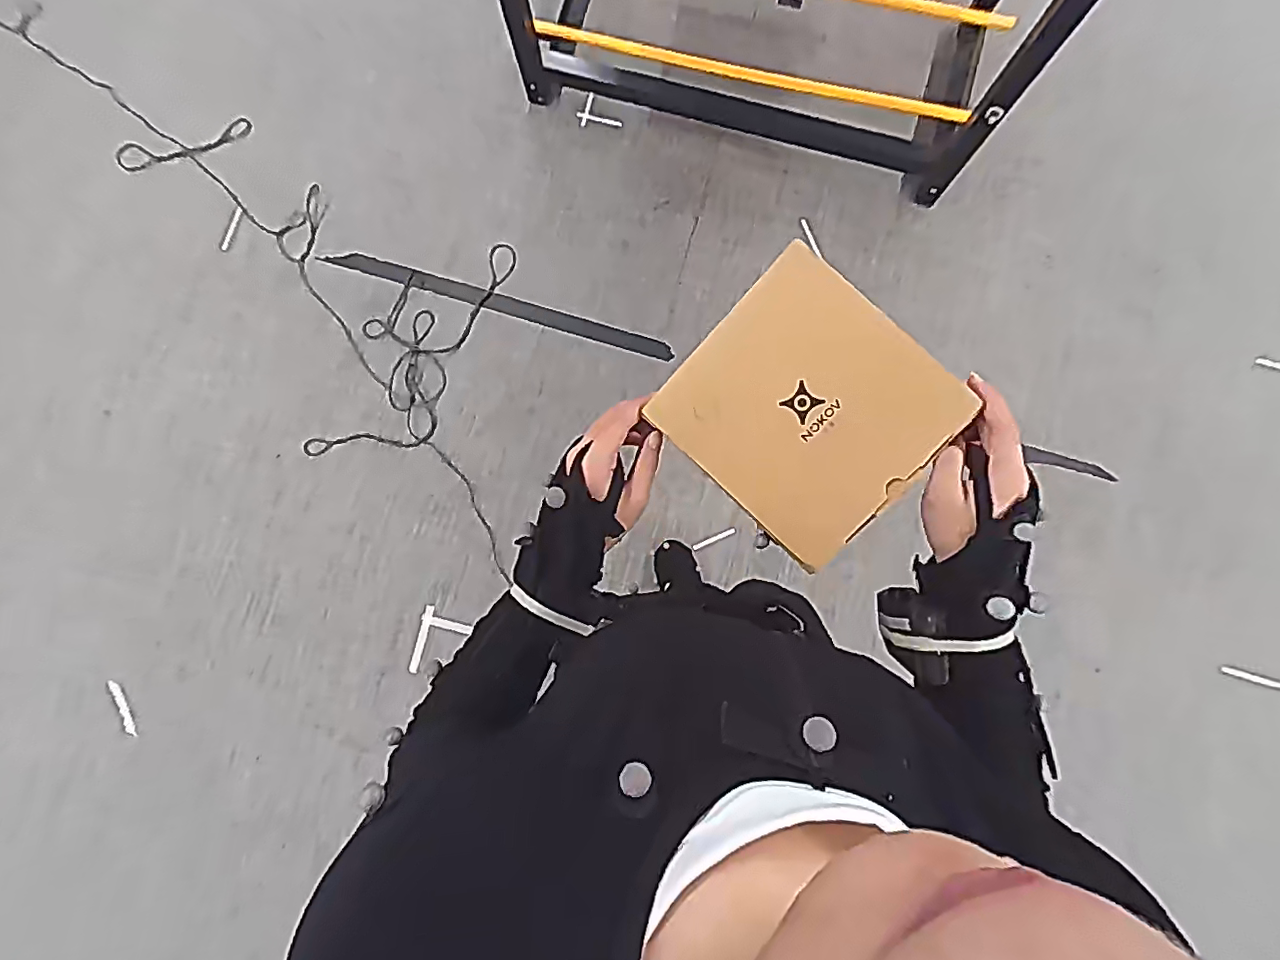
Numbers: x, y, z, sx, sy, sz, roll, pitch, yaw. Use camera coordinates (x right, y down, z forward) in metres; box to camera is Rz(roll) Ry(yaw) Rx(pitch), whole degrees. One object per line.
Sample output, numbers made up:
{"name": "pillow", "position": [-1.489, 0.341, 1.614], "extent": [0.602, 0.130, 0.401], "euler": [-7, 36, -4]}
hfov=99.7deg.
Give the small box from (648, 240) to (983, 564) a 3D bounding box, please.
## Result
{"name": "small box", "position": [0.129, -0.057, 0.463], "extent": [0.179, 0.176, 0.168], "euler": [43, 97, 3]}
